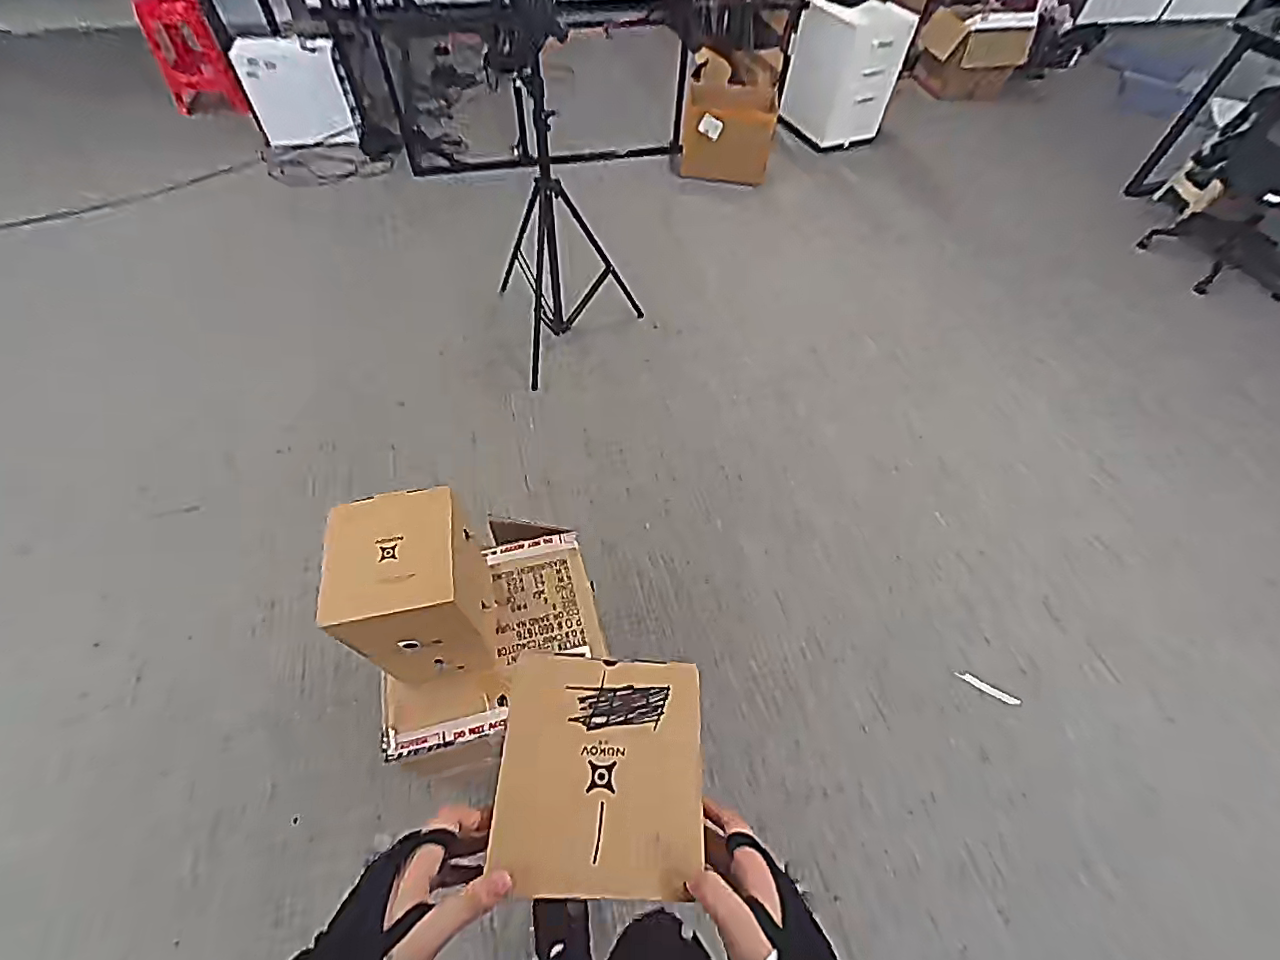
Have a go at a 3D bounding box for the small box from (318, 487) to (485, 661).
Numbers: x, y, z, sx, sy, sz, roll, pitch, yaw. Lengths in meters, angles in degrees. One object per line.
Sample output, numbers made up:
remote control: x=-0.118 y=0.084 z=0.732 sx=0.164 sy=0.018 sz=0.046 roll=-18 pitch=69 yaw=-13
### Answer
small box: x=-0.325 y=0.137 z=0.768 sx=0.168 sy=0.176 sz=0.179 roll=-11 pitch=59 yaw=-7

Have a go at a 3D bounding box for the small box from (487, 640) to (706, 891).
small box: x=-0.041 y=0.269 z=0.507 sx=0.168 sy=0.176 sz=0.179 roll=7 pitch=55 yaw=-6

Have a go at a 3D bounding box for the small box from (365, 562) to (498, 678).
small box: x=-0.341 y=0.221 z=0.907 sx=0.168 sy=0.176 sz=0.179 roll=-10 pitch=59 yaw=-8
